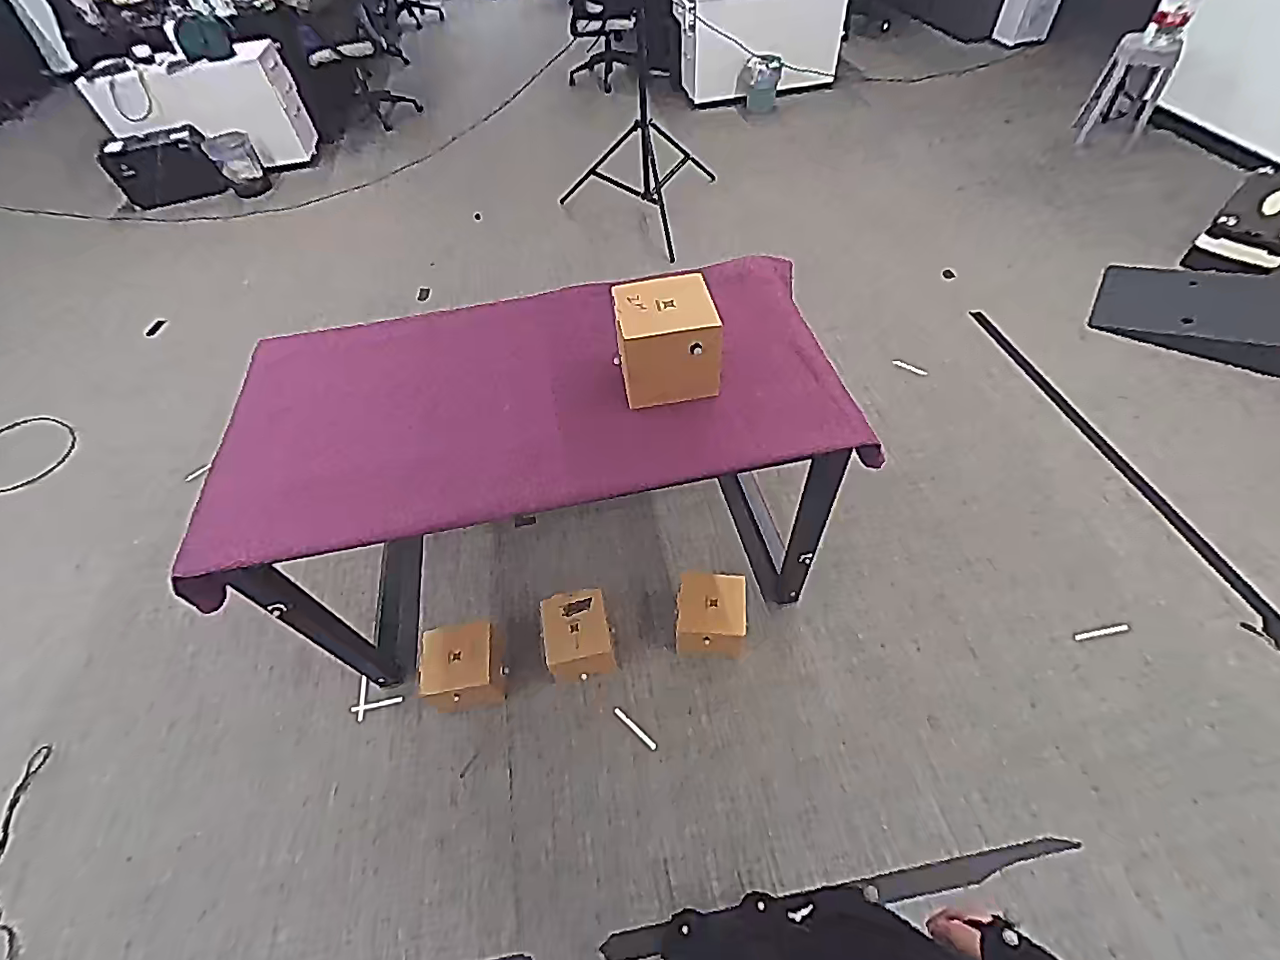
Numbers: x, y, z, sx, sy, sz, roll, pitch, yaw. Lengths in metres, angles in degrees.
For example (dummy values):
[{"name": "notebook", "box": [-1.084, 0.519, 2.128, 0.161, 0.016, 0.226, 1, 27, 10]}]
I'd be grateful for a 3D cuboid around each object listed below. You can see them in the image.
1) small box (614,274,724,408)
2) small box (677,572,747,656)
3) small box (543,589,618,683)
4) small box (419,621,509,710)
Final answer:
[{"name": "small box", "box": [0.052, -0.260, 1.026, 0.179, 0.176, 0.168, -10, 52, -2]}, {"name": "small box", "box": [0.193, 0.366, 1.460, 0.179, 0.176, 0.168, 2, 54, 8]}, {"name": "small box", "box": [-0.159, 0.419, 1.448, 0.168, 0.176, 0.179, -12, 54, -4]}, {"name": "small box", "box": [-0.455, 0.492, 1.421, 0.179, 0.176, 0.168, -8, 54, -3]}]
